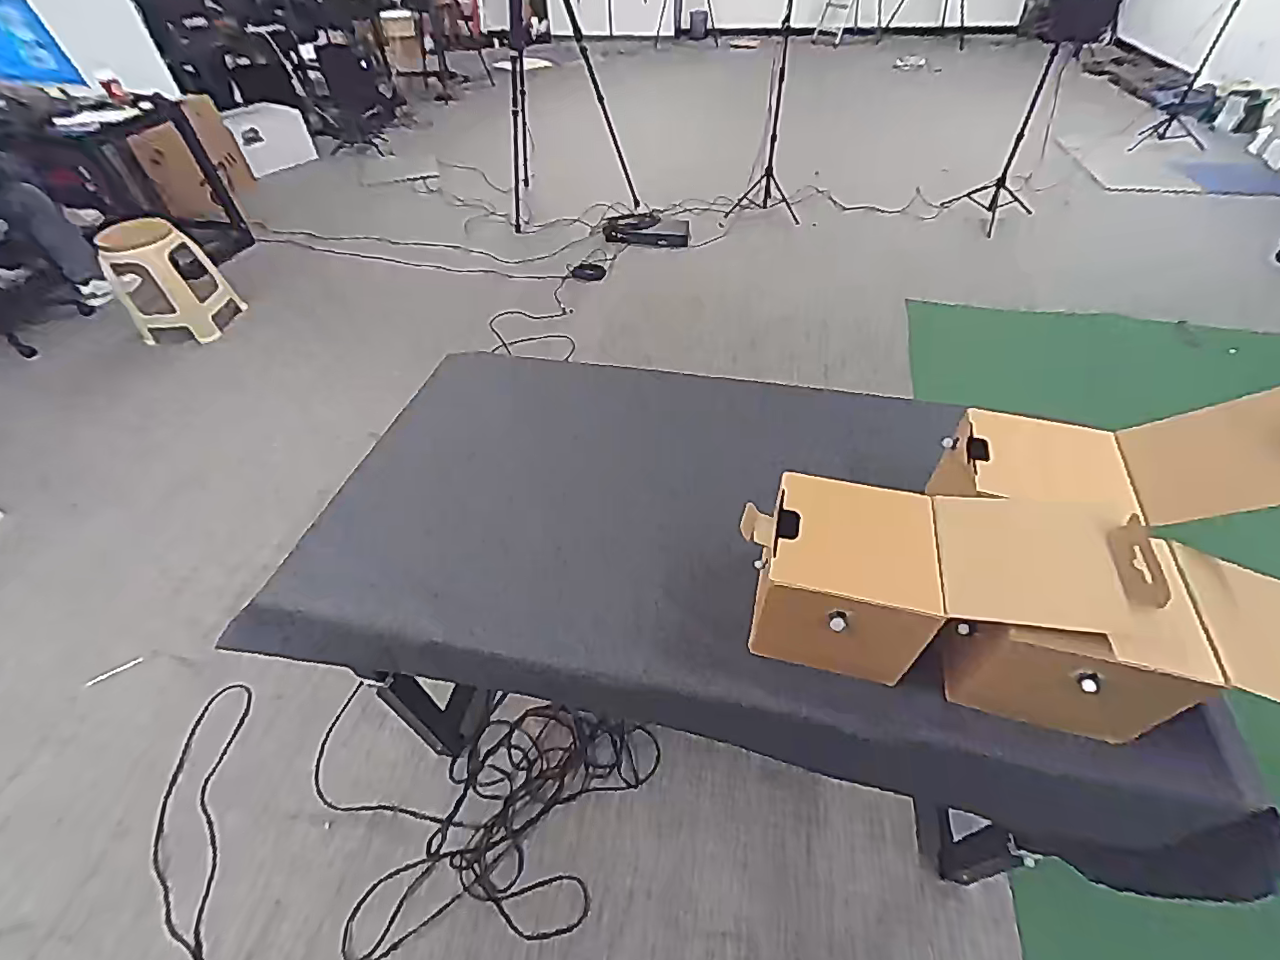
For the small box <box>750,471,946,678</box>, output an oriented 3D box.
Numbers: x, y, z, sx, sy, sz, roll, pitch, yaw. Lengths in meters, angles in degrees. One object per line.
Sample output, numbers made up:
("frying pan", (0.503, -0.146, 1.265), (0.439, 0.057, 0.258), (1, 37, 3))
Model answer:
("small box", (0.238, 0.116, 0.648), (0.179, 0.176, 0.168), (10, 48, 13))
